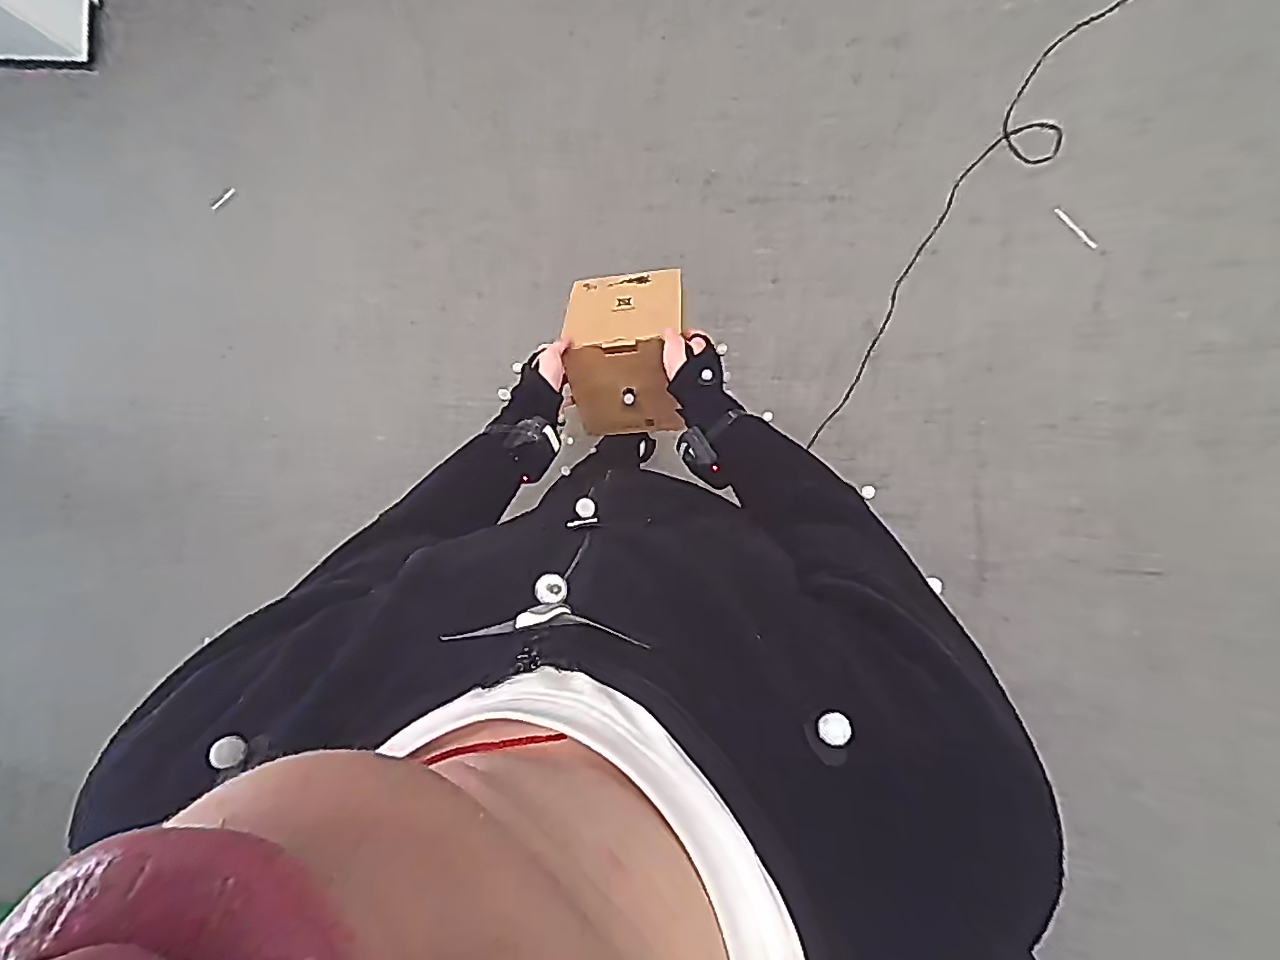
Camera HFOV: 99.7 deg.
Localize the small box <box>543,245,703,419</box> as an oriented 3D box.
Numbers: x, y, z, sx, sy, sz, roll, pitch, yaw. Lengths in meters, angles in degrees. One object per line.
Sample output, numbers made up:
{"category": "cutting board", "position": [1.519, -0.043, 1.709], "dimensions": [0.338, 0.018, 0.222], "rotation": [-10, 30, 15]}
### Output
{"category": "small box", "position": [-0.021, -0.222, 0.821], "dimensions": [0.179, 0.176, 0.168], "rotation": [-26, 48, -11]}
